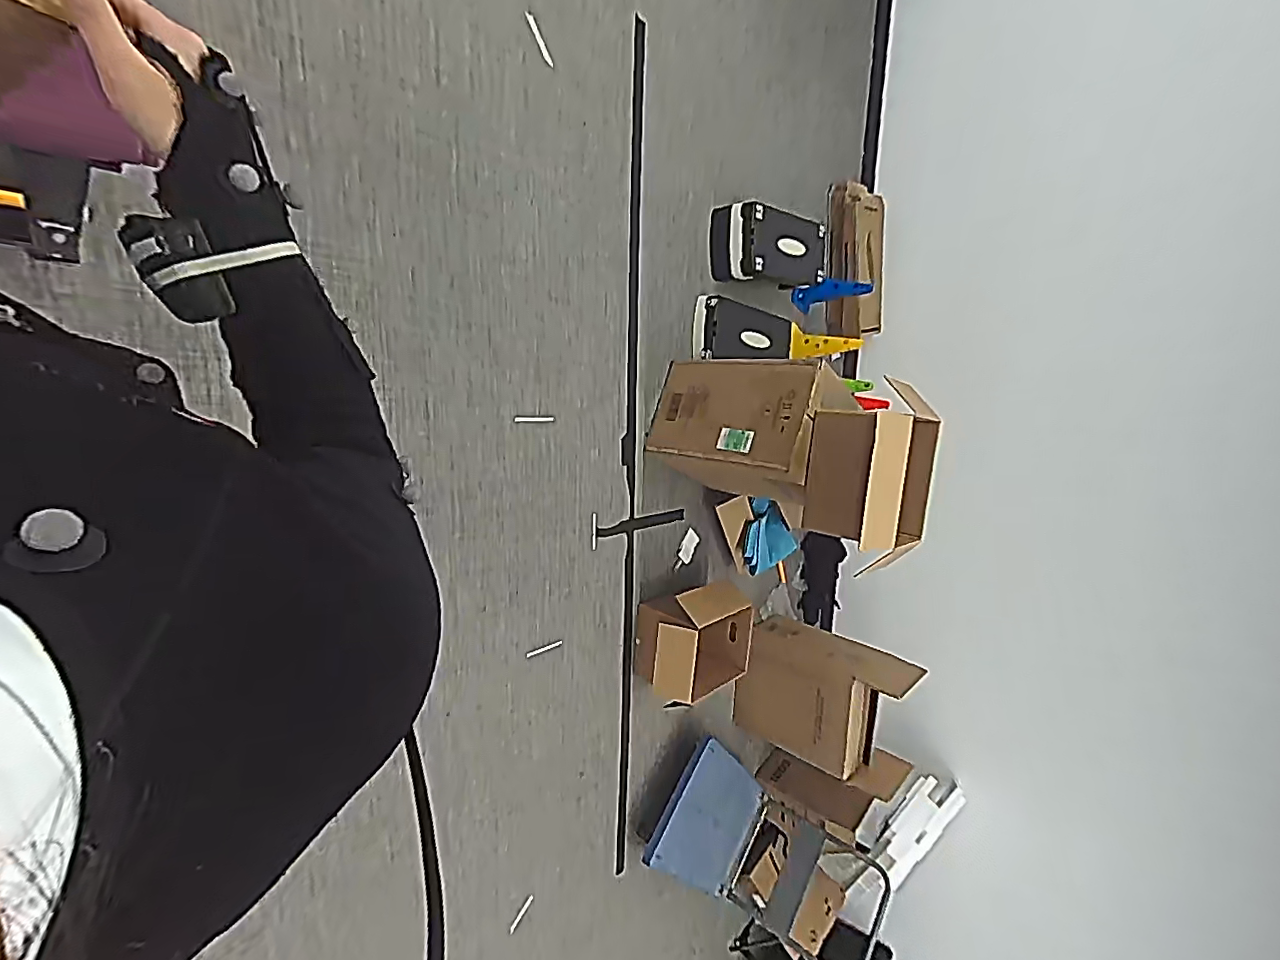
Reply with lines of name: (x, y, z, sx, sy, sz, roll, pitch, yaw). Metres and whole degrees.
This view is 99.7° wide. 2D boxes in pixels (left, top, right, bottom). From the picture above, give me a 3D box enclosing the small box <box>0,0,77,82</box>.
small box: (-0.421, -0.312, 0.247, 0.179, 0.176, 0.168, -15, 102, -63)
